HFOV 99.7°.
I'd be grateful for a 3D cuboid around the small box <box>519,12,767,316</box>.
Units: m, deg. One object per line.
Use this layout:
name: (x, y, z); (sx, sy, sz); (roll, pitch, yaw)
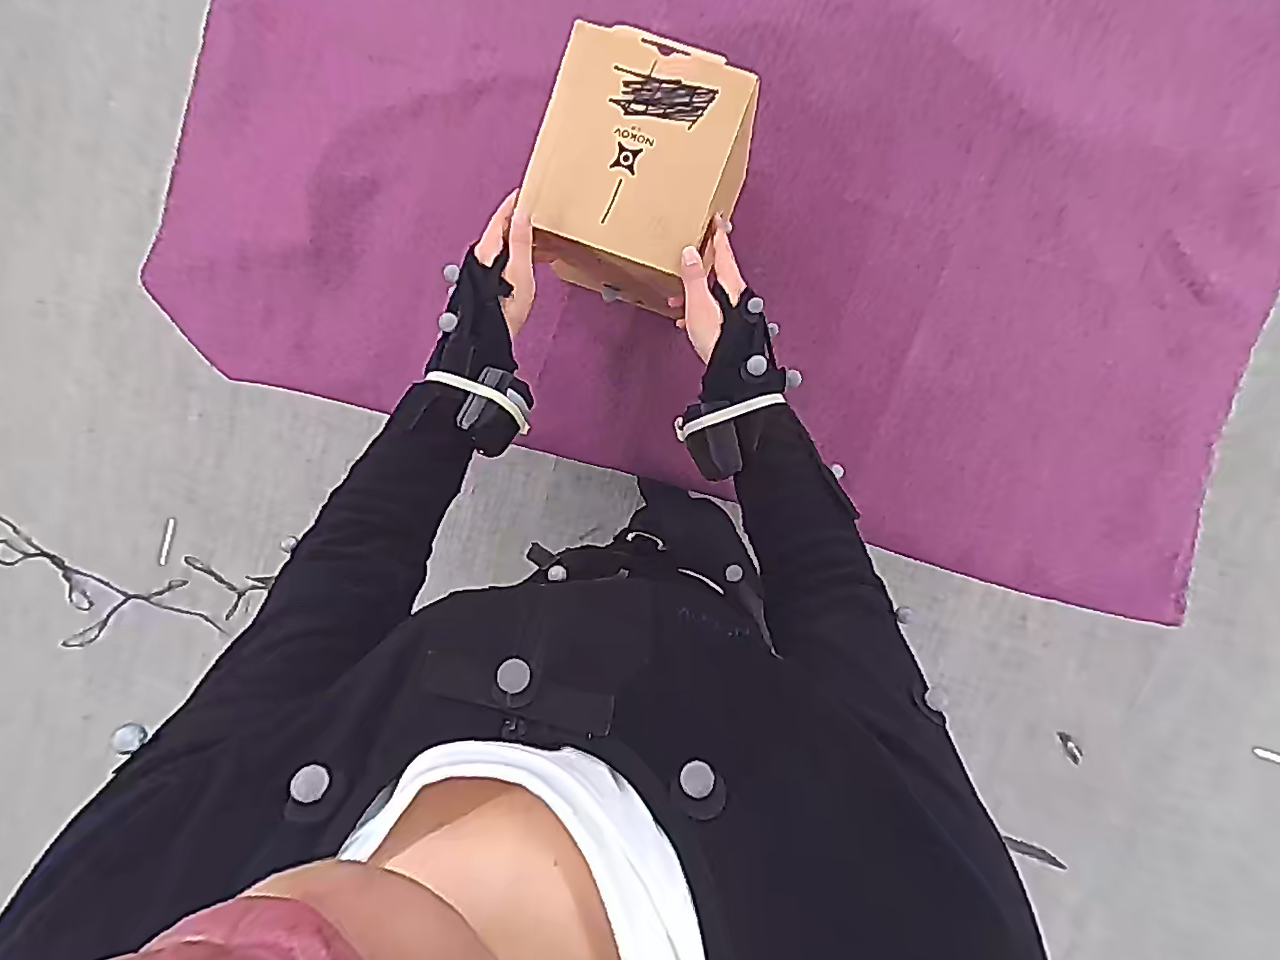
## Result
small box: (0.007, -0.287, 0.533); (0.168, 0.176, 0.179); (21, 95, 5)
